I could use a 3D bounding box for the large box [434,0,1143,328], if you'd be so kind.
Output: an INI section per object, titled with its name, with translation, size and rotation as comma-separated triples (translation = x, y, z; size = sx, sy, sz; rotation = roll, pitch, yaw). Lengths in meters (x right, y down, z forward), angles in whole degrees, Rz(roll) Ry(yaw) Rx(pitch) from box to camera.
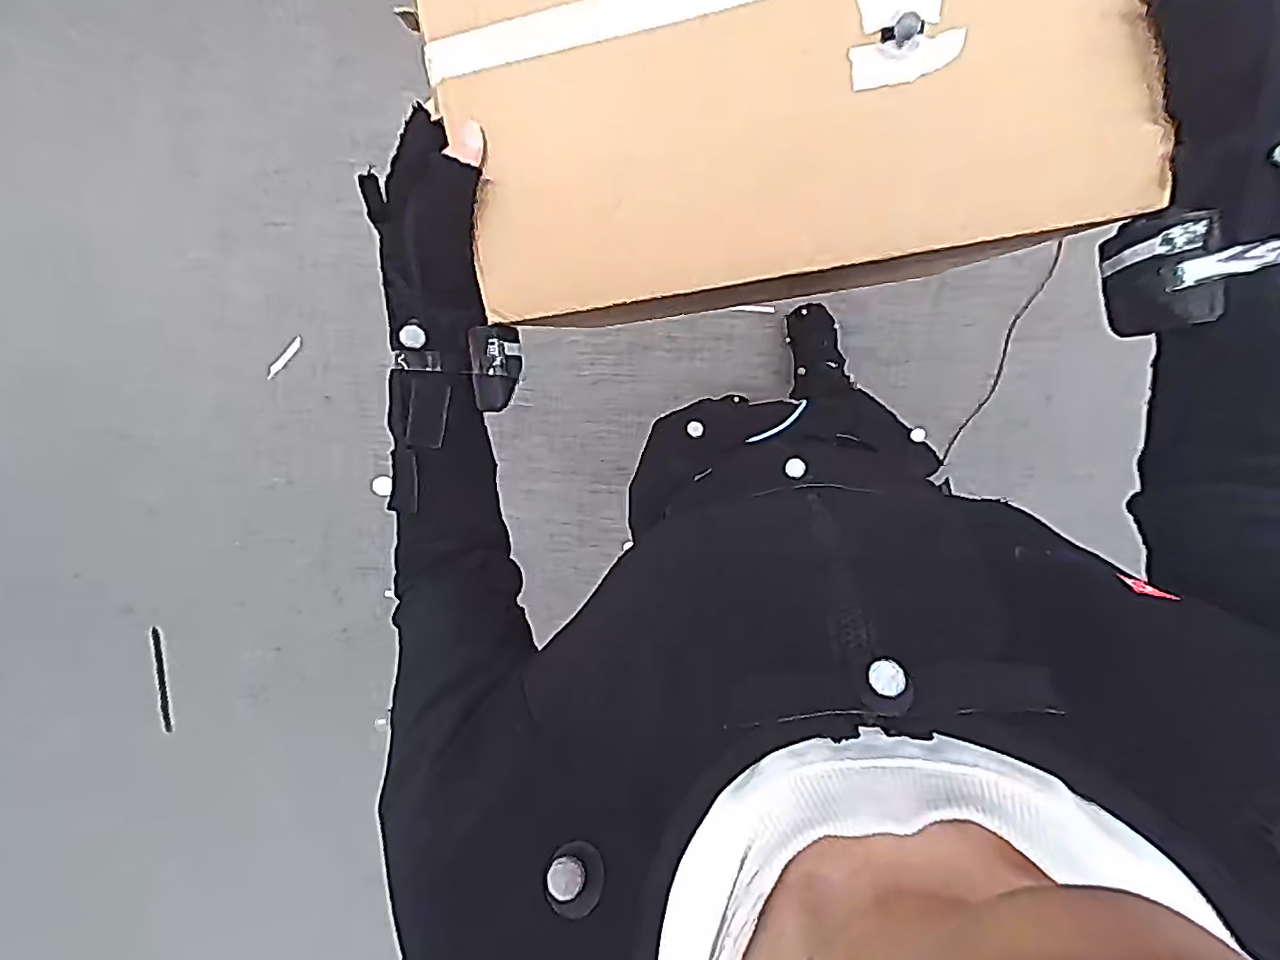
[large box]
translation = 0.088, -0.324, 0.458
size = 0.408, 0.320, 0.320
rotation = -8, 104, 9
